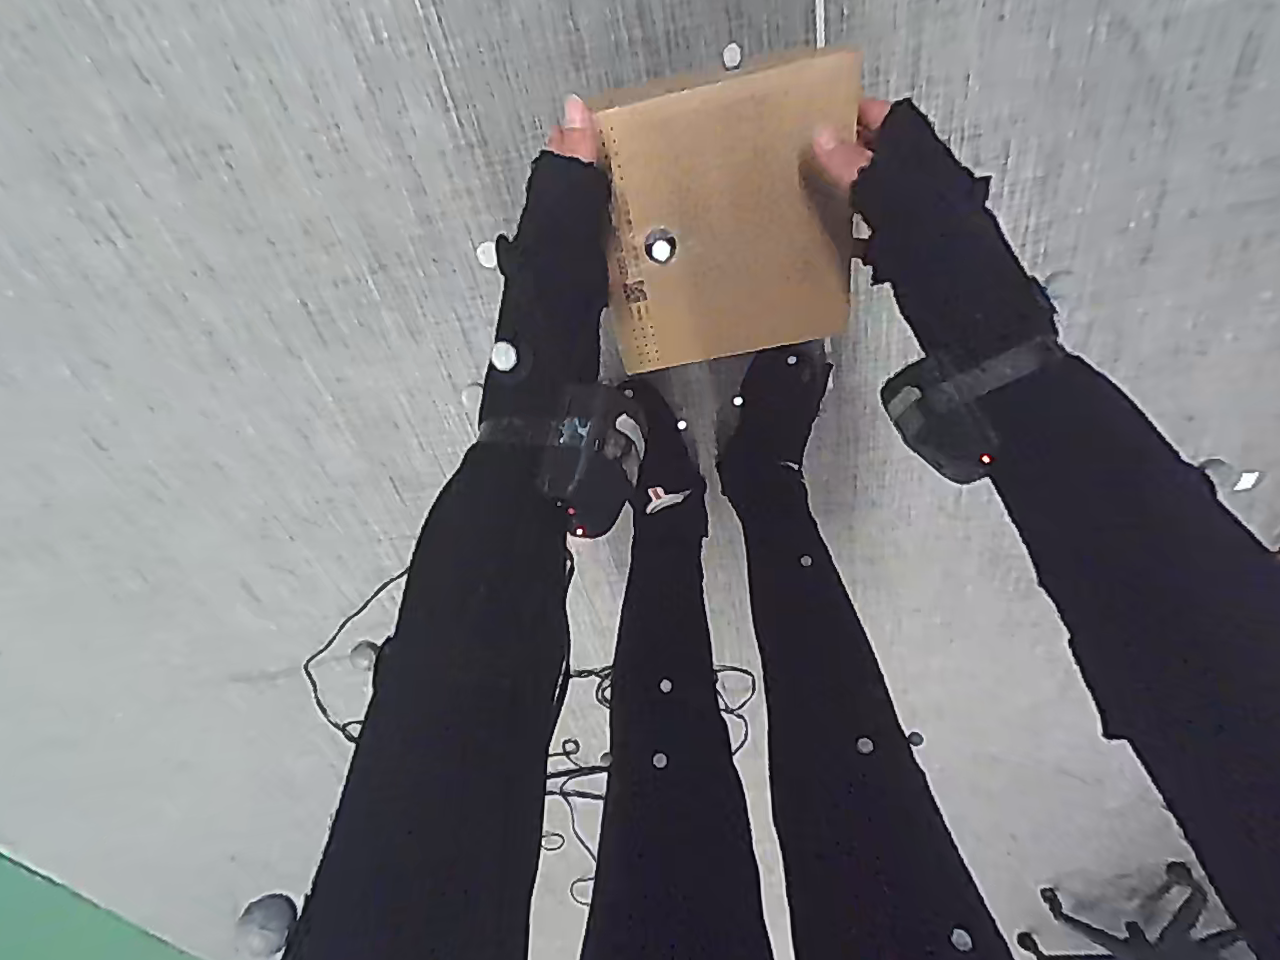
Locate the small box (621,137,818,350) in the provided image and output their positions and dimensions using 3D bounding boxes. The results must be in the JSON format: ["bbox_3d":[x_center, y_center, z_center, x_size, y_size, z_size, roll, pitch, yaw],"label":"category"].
[{"bbox_3d":[0.085,-0.267,0.599,0.179,0.176,0.168,-11,121,10],"label":"small box"}]
